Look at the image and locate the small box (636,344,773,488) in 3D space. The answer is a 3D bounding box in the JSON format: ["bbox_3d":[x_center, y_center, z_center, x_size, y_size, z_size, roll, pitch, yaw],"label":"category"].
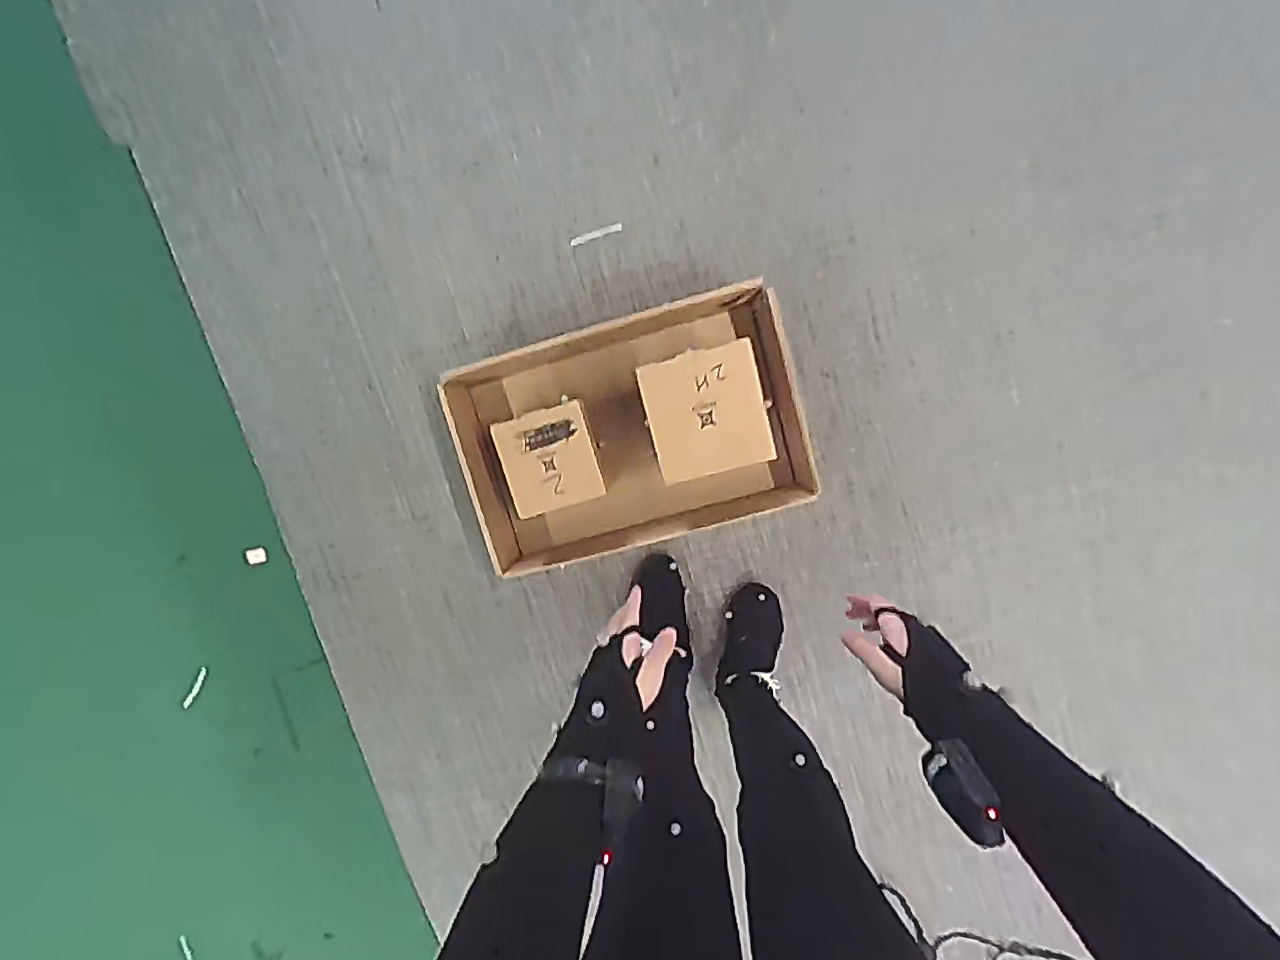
[{"bbox_3d":[0.099,-0.100,0.840,0.168,0.176,0.179,-13,96,6],"label":"small box"}]
